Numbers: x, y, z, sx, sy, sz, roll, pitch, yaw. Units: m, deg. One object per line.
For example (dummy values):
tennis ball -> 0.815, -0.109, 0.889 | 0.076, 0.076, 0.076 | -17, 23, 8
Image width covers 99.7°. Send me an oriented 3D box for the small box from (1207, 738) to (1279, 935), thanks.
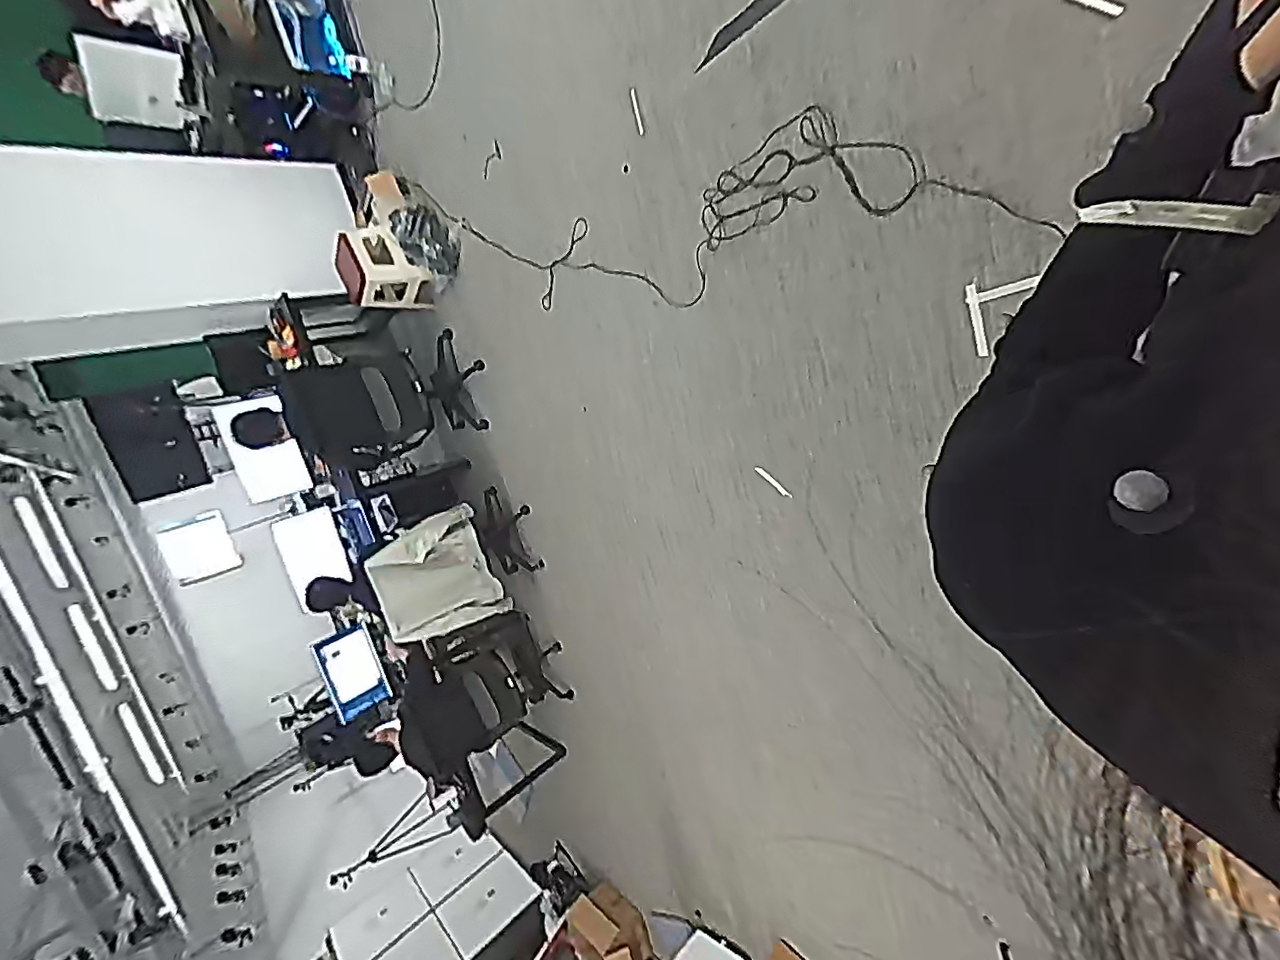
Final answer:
small box -> 0.886, 0.488, 0.729 | 0.168, 0.176, 0.179 | -2, 108, 48
